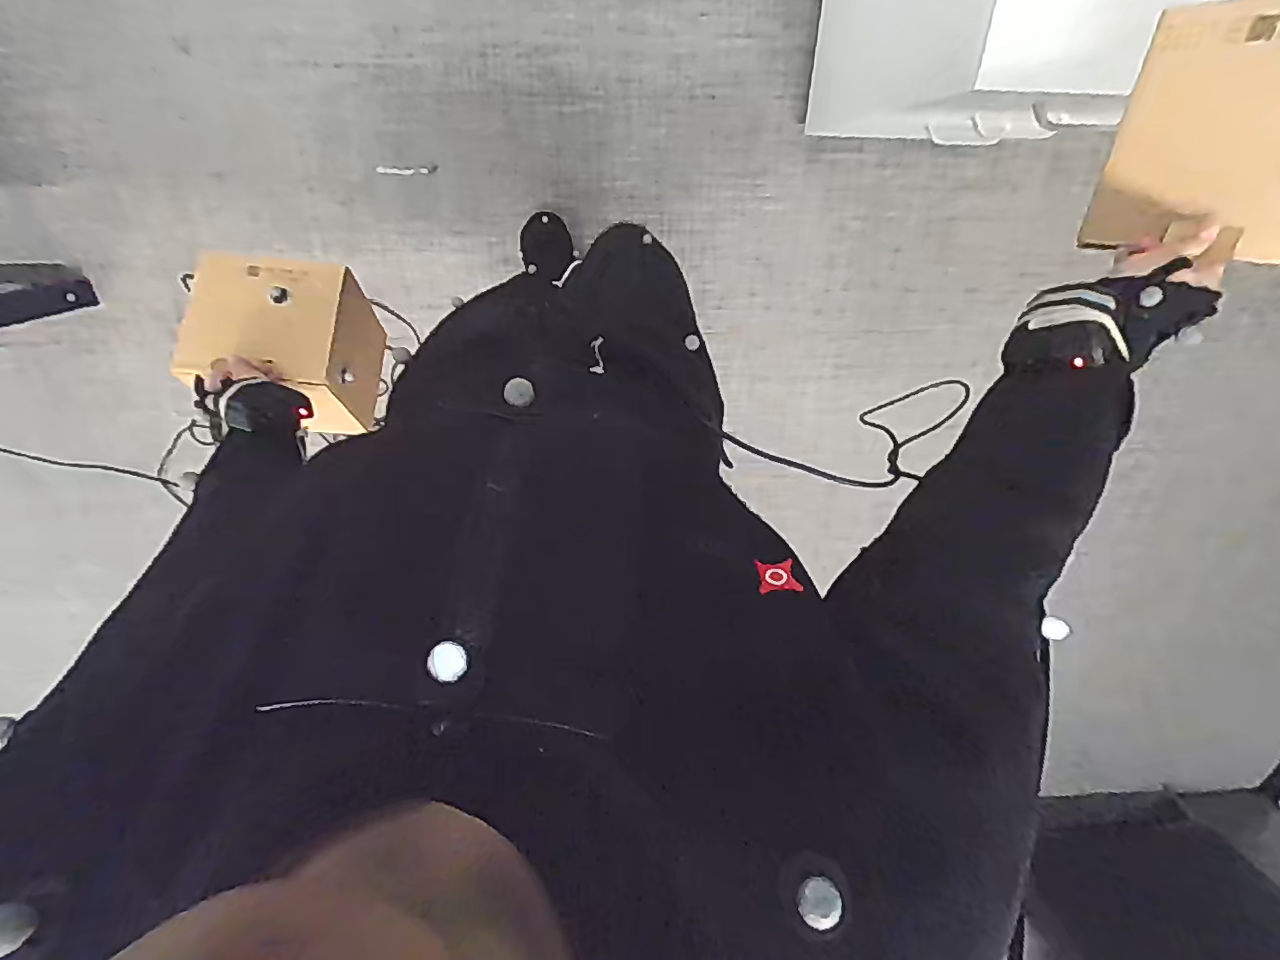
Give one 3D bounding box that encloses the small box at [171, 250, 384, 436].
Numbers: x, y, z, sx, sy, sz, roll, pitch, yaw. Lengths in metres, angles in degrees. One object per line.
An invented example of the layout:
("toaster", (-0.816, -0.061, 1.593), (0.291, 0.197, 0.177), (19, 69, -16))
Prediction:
("small box", (-0.460, -0.172, 0.723), (0.168, 0.179, 0.176), (4, 74, -8))
